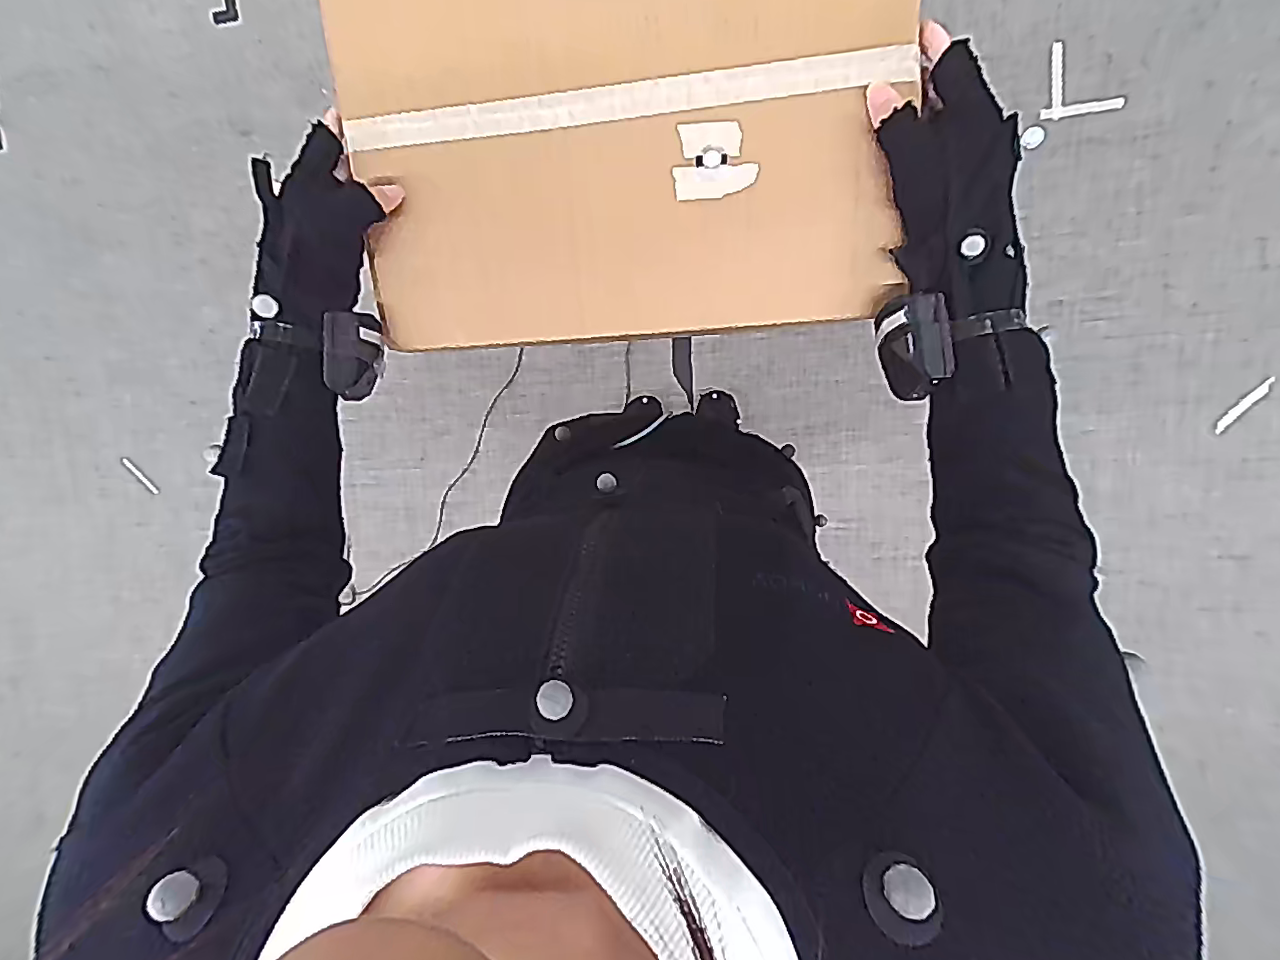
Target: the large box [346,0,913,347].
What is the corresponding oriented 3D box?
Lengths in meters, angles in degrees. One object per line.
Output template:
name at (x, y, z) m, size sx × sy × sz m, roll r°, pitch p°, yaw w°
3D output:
large box at (0.002, -0.308, 0.536) m, size 0.408 × 0.320 × 0.320 m, roll -3°, pitch 105°, yaw 7°
